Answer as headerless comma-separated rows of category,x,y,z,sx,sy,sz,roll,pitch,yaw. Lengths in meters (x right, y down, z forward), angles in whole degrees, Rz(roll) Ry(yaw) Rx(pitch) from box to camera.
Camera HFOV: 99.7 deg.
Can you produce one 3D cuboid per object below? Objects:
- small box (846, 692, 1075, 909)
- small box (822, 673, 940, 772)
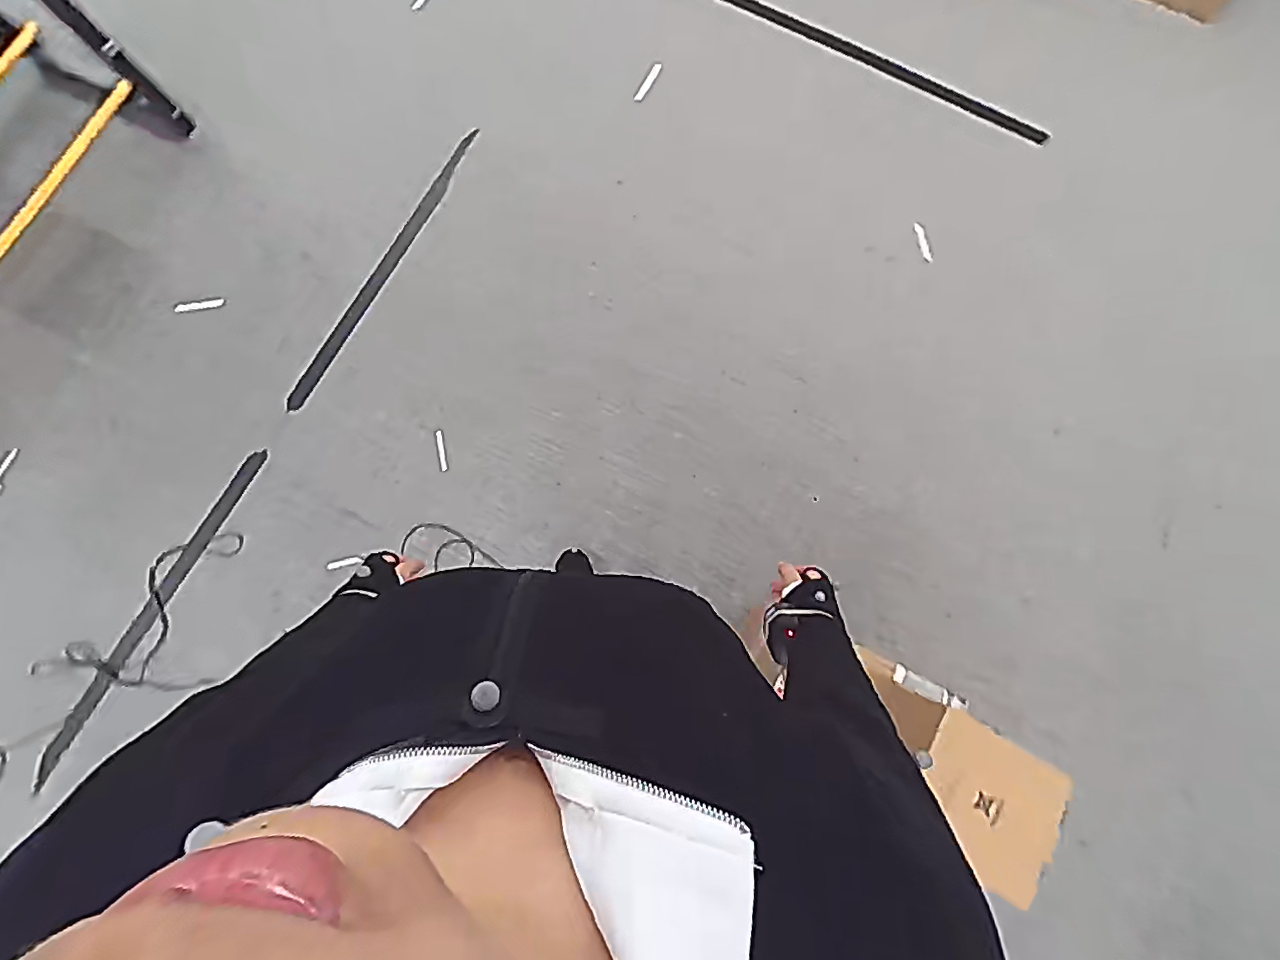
small box,0.417,0.410,0.733,0.179,0.176,0.168,30,79,7
small box,0.429,0.437,0.894,0.179,0.176,0.168,30,80,7
